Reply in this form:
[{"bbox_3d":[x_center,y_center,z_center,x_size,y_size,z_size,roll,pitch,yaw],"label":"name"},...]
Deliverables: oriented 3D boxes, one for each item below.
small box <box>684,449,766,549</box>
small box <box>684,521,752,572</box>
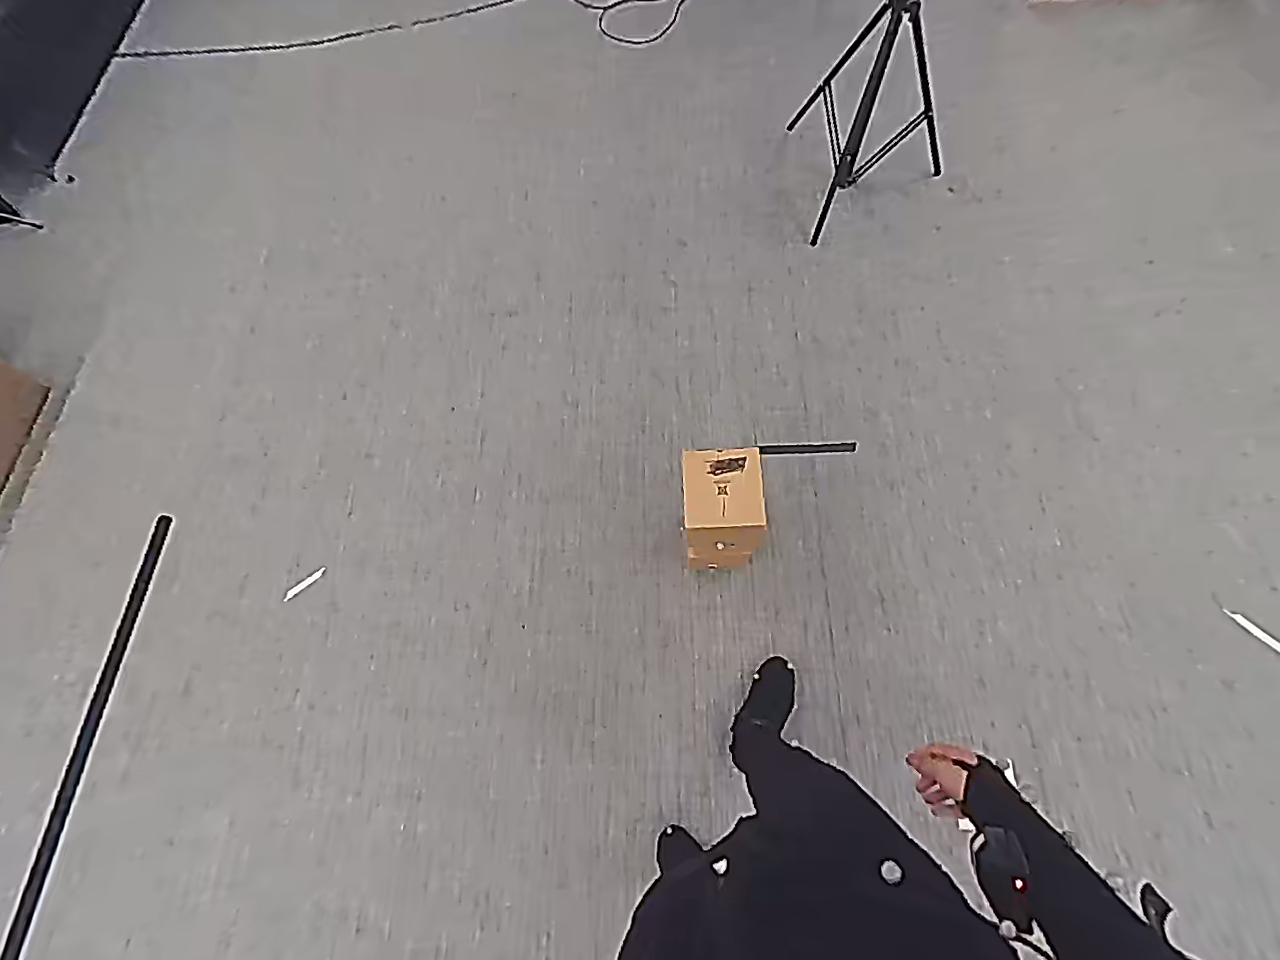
[{"bbox_3d":[0.180,0.047,1.189,0.168,0.176,0.179,-3,69,5],"label":"small box"},{"bbox_3d":[0.209,0.148,1.501,0.168,0.176,0.179,-5,68,3],"label":"small box"}]
